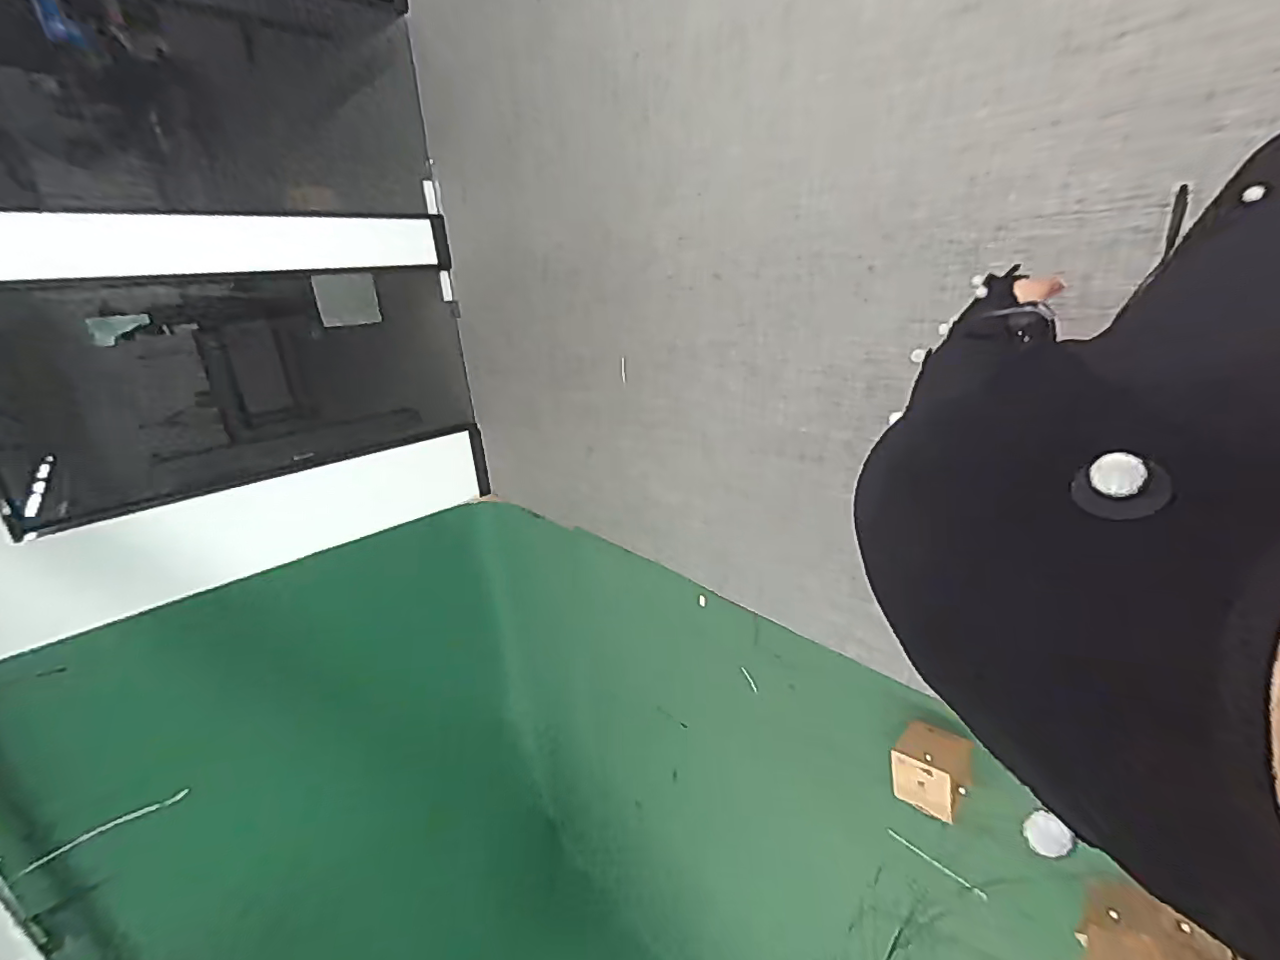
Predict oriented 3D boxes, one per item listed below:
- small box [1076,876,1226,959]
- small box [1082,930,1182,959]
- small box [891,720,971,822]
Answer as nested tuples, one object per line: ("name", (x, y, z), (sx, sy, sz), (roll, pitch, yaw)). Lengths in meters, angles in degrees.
("small box", (1.108, 0.999, 1.172), (0.168, 0.176, 0.179), (53, 139, 21))
("small box", (0.994, 1.047, 1.062), (0.179, 0.176, 0.168), (-14, 94, 50))
("small box", (0.881, 0.870, 1.633), (0.168, 0.176, 0.179), (7, 112, 48))
